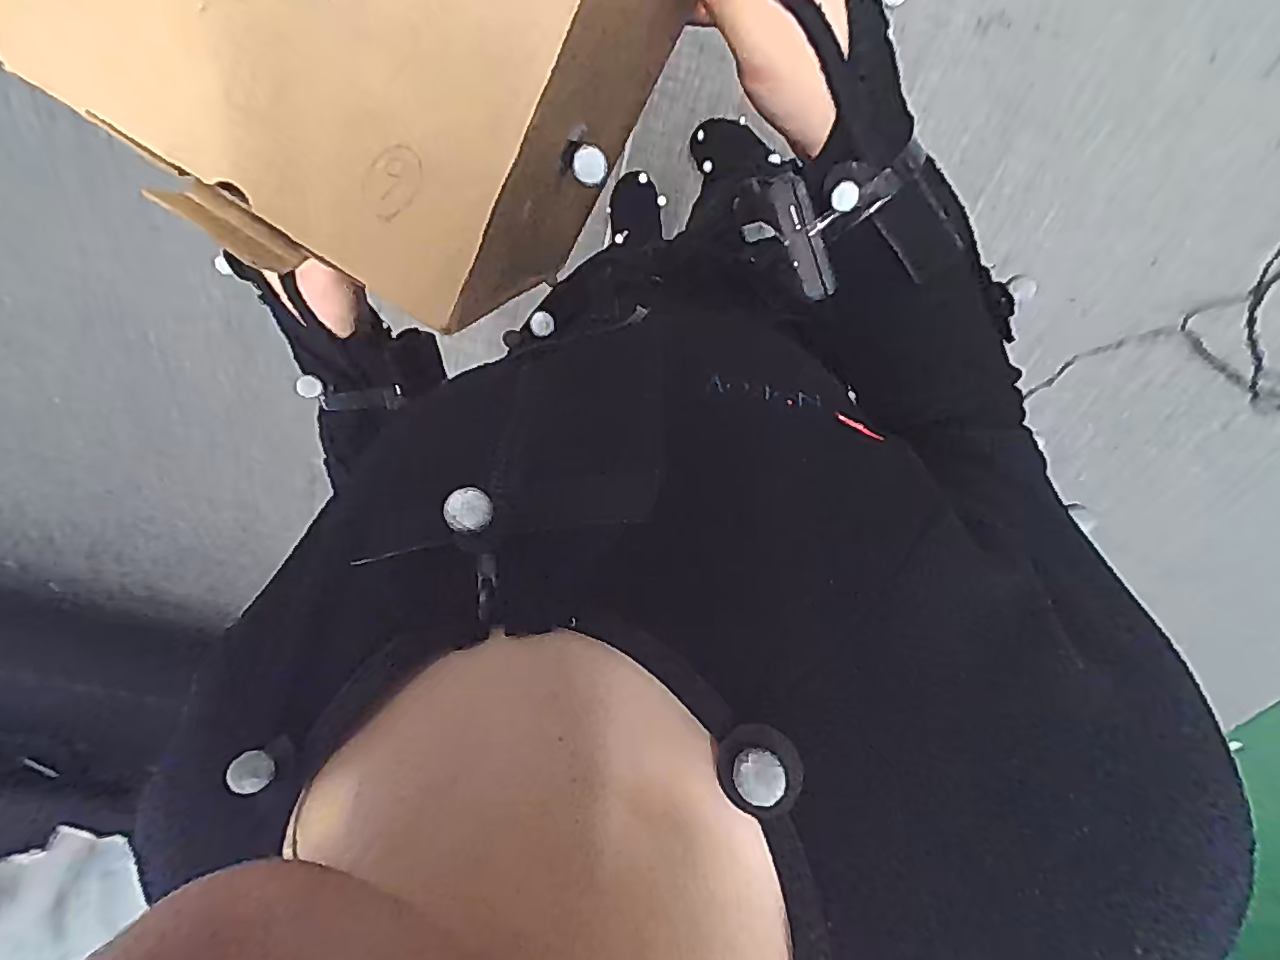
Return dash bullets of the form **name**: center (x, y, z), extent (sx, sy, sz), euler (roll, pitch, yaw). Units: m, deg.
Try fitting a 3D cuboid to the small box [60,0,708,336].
- **small box**: center (-0.079, -0.197, 0.233), extent (0.168, 0.176, 0.179), euler (32, 119, -10)
